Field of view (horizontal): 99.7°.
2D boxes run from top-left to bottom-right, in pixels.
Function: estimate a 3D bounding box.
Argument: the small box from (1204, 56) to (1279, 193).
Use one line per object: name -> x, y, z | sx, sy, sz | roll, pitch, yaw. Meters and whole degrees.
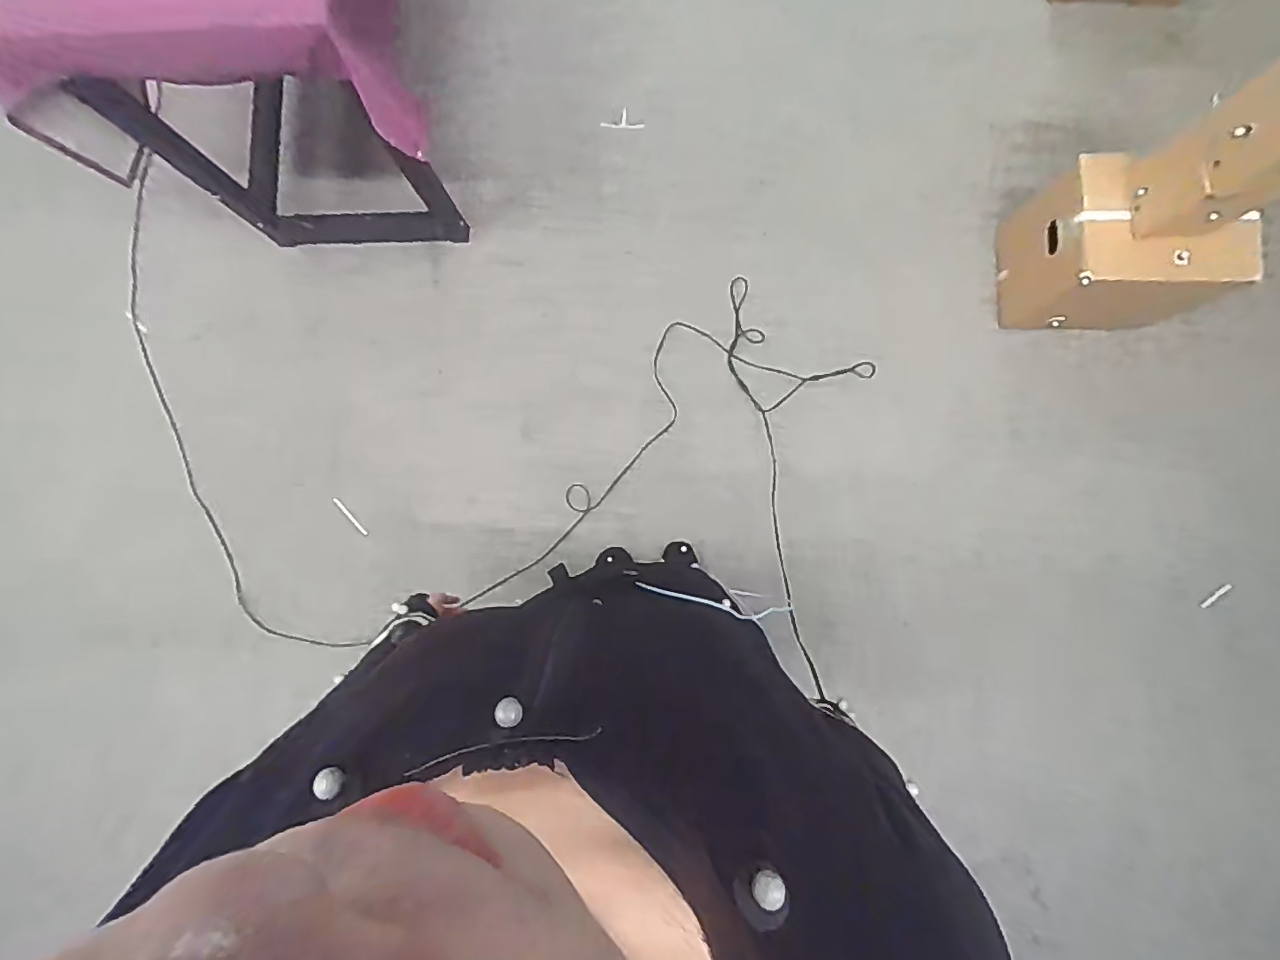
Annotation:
small box -> 1.213, -0.662, 1.002 | 0.179, 0.176, 0.168 | -7, 84, 1
